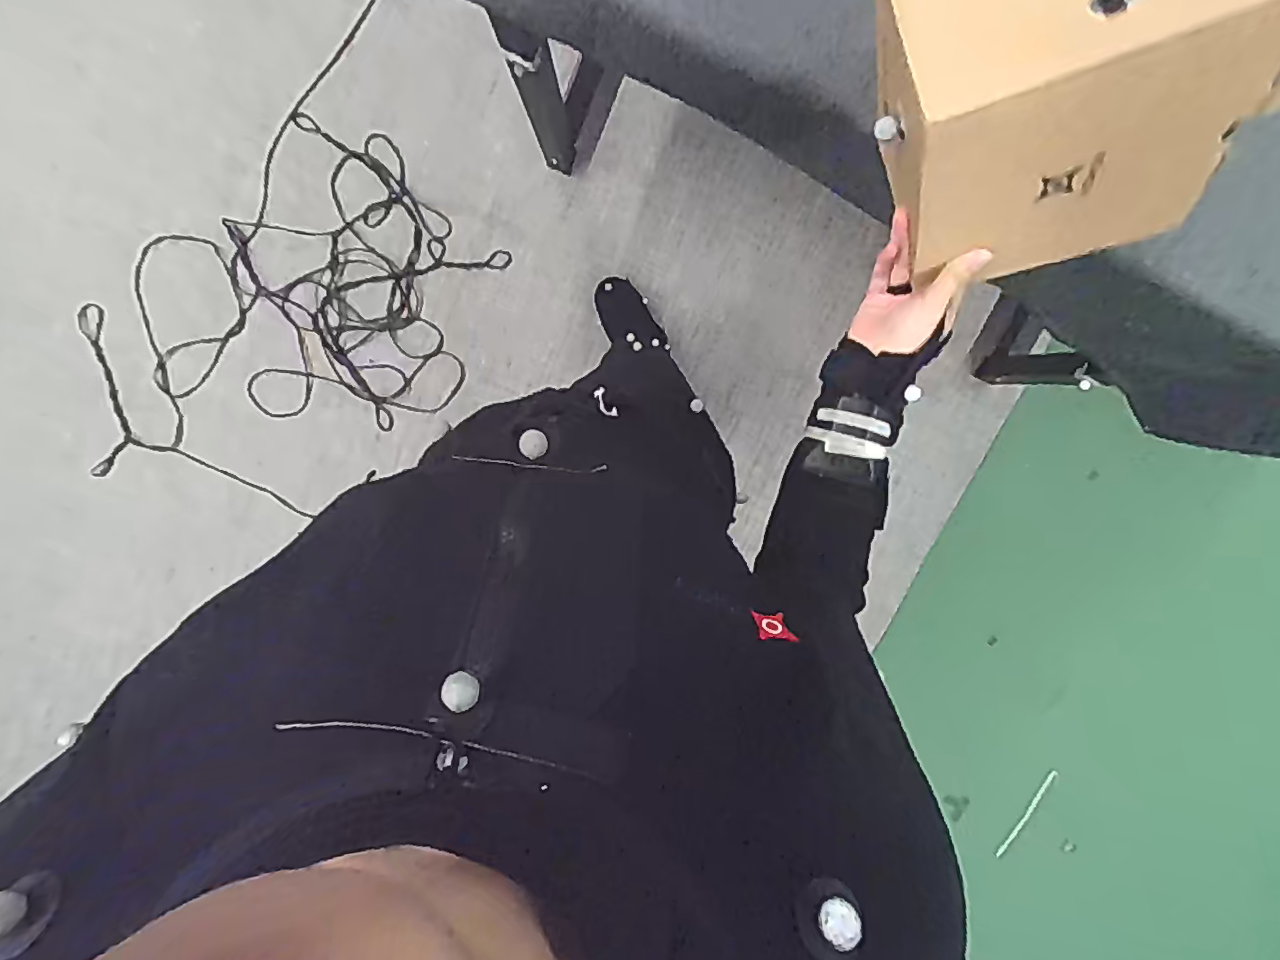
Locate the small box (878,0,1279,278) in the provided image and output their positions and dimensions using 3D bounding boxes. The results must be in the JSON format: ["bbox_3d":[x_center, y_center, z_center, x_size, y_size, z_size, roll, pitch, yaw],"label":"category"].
[{"bbox_3d":[0.265,-0.278,0.363,0.179,0.168,0.176,-12,67,22],"label":"small box"}]
